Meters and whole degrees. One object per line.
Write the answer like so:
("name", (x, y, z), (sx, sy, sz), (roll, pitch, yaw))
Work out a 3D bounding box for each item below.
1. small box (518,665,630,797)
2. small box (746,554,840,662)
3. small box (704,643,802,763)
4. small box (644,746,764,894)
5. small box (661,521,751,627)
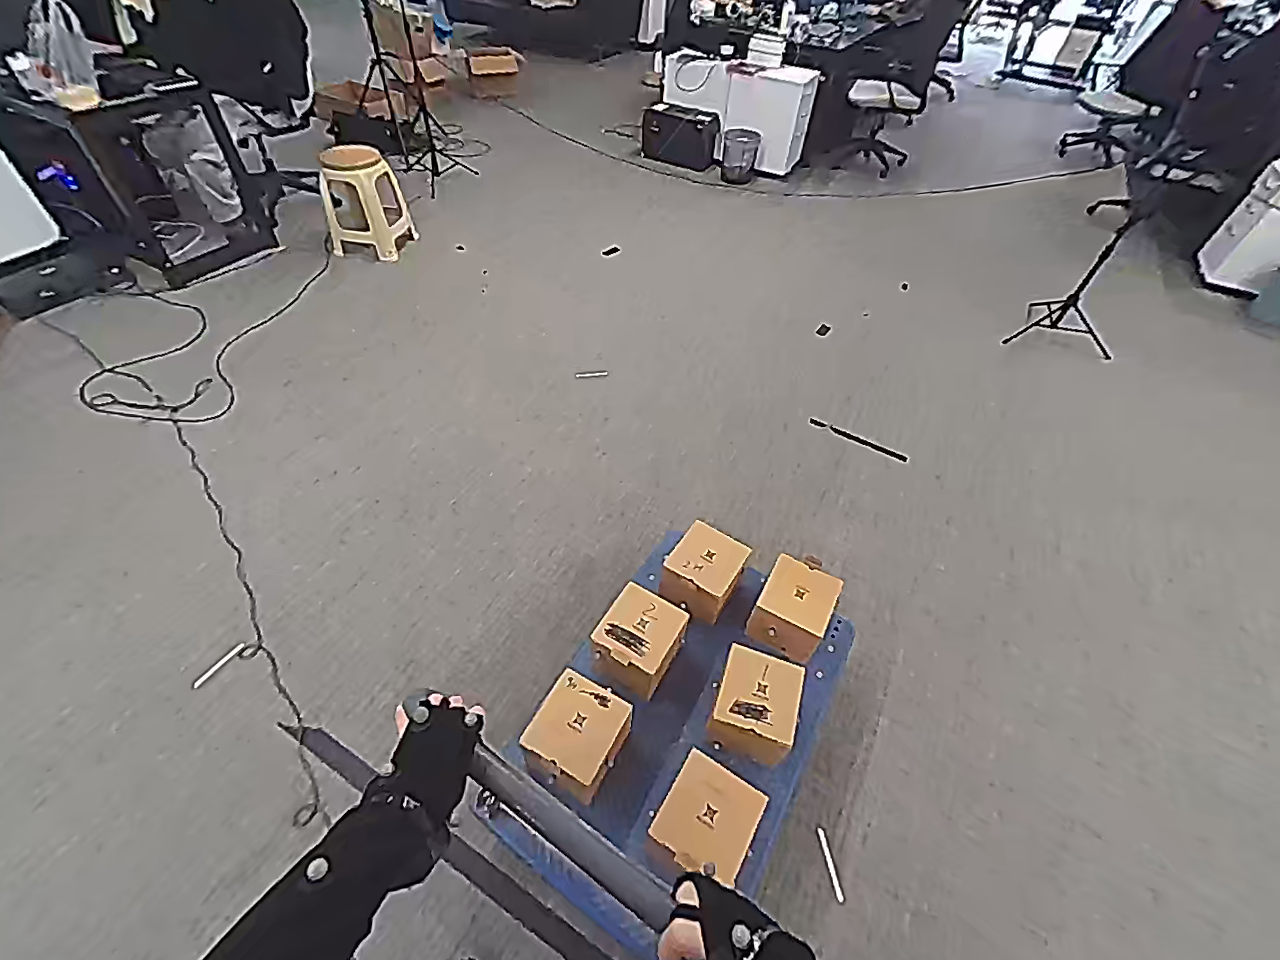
("small box", (-0.134, 0.537, 1.149), (0.168, 0.176, 0.179), (26, 52, 16))
("small box", (0.381, 0.328, 1.370), (0.168, 0.176, 0.179), (25, 52, 17))
("small box", (0.247, 0.502, 1.209), (0.168, 0.176, 0.179), (18, 50, 11))
("small box", (0.118, 0.668, 1.058), (0.168, 0.176, 0.179), (29, 52, 19))
("small box", (0.166, 0.247, 1.422), (0.168, 0.176, 0.179), (29, 54, 20))
